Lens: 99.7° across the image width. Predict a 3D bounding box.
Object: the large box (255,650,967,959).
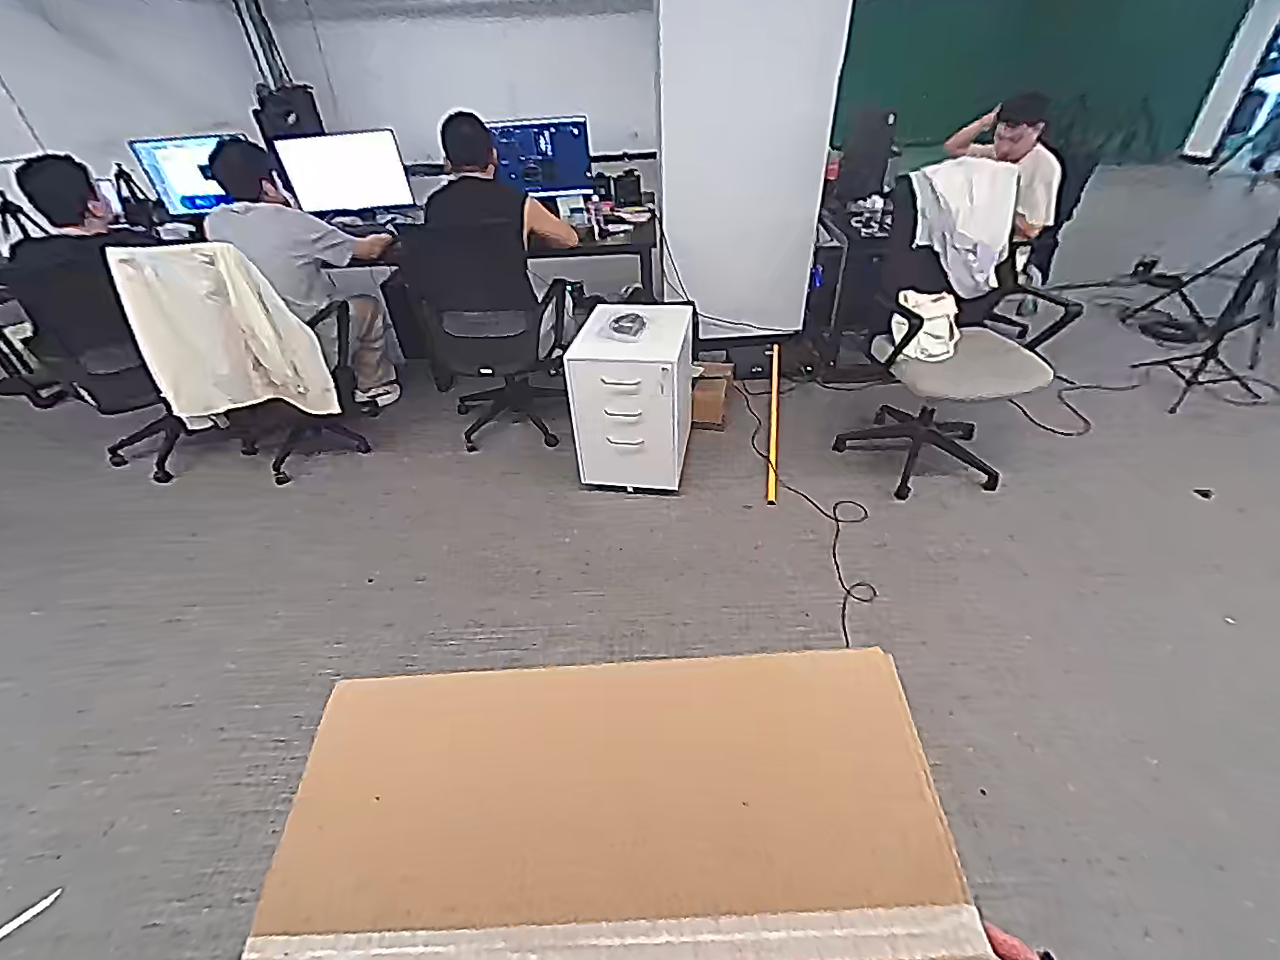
[{"bbox_3d":[-0.009,0.352,0.417,0.408,0.320,0.320,-5,49,3],"label":"large box"}]
